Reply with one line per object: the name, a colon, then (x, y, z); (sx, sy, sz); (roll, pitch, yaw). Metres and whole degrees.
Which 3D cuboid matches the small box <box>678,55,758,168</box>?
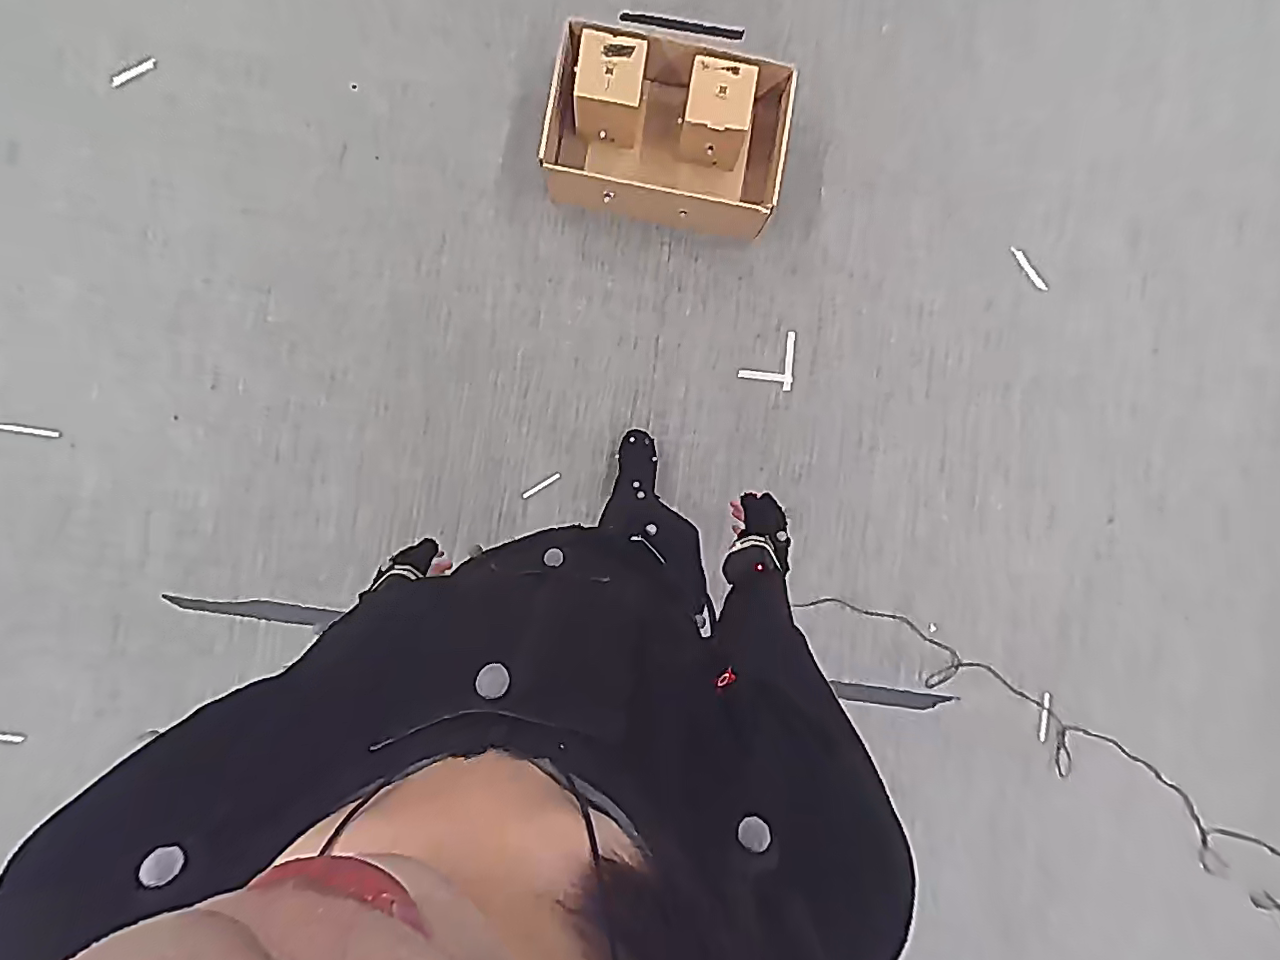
small box: (0.200, -0.969, 1.440); (0.168, 0.176, 0.179); (10, 89, -3)
